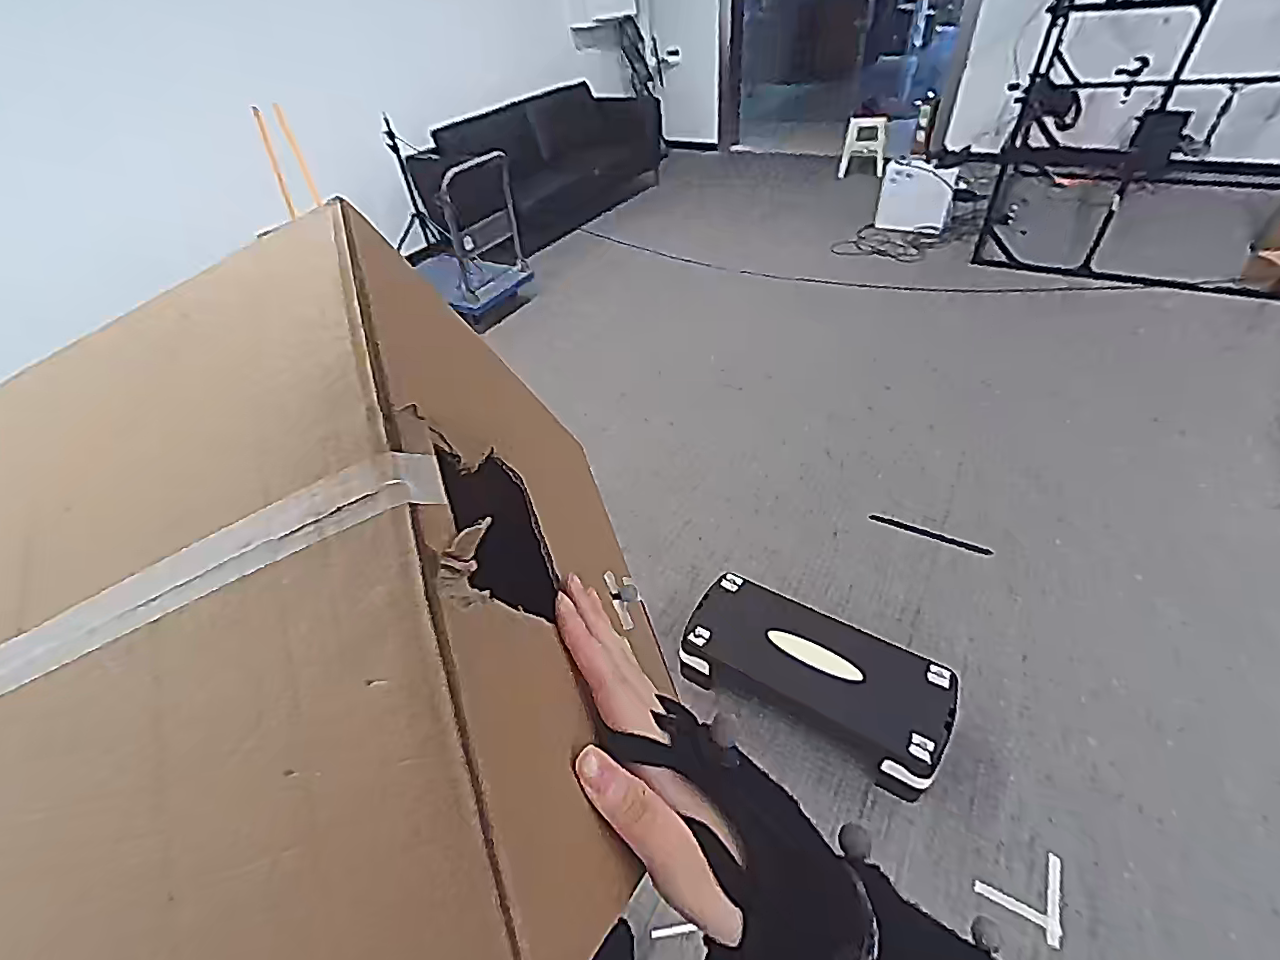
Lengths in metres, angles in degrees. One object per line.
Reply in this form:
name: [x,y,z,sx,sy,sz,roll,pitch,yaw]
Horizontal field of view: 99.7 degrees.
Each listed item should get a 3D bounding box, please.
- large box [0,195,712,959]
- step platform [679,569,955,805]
large box: [-0.210,0.122,0.354,0.408,0.320,0.320,-25,67,7]
step platform: [0.442,0.510,1.444,0.684,0.204,0.286,25,51,31]
